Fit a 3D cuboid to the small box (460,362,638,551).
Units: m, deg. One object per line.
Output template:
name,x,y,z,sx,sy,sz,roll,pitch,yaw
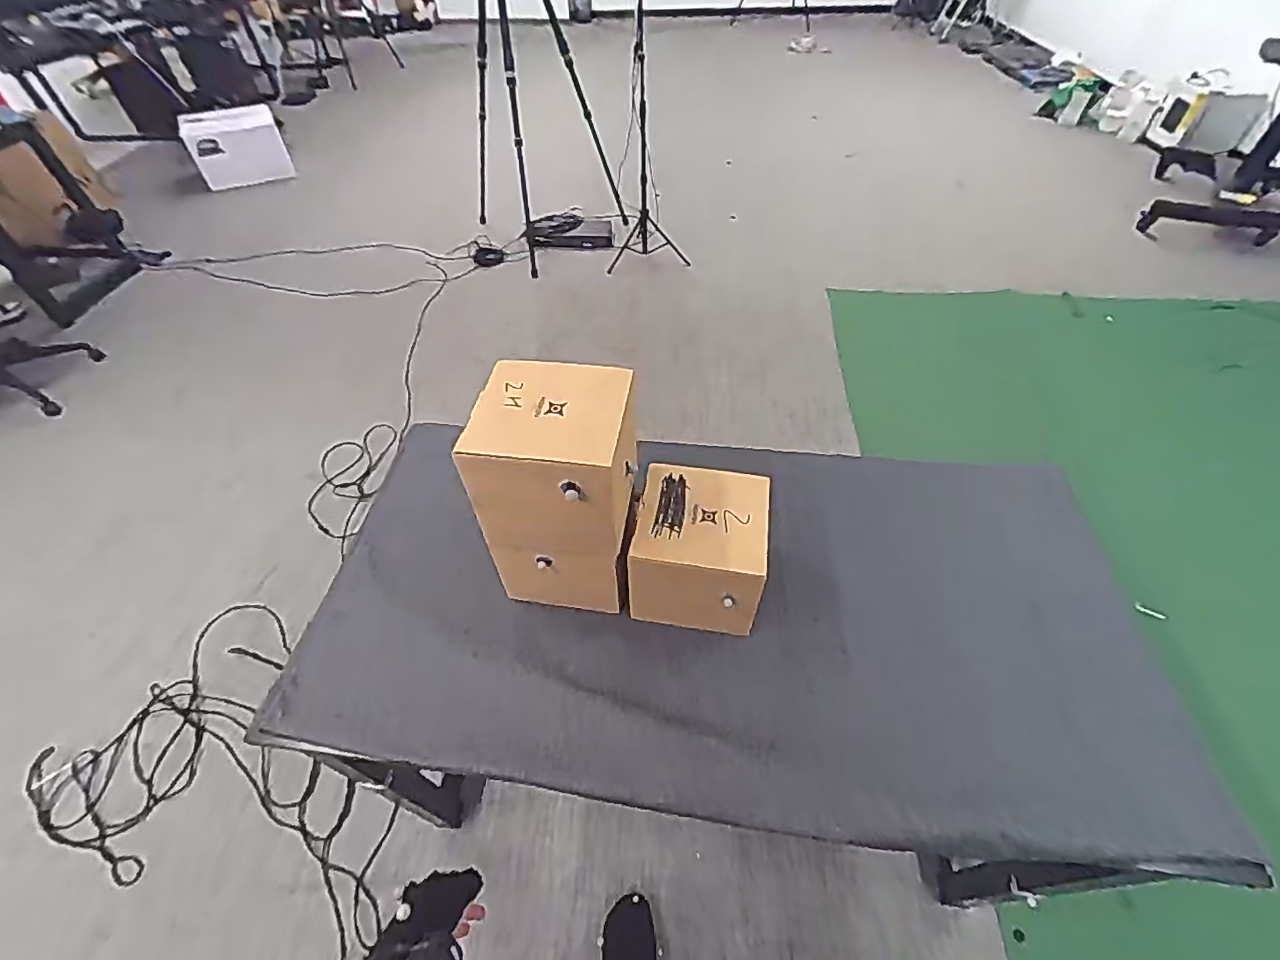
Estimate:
small box,-0.099,-0.027,0.688,0.179,0.176,0.168,6,48,5
